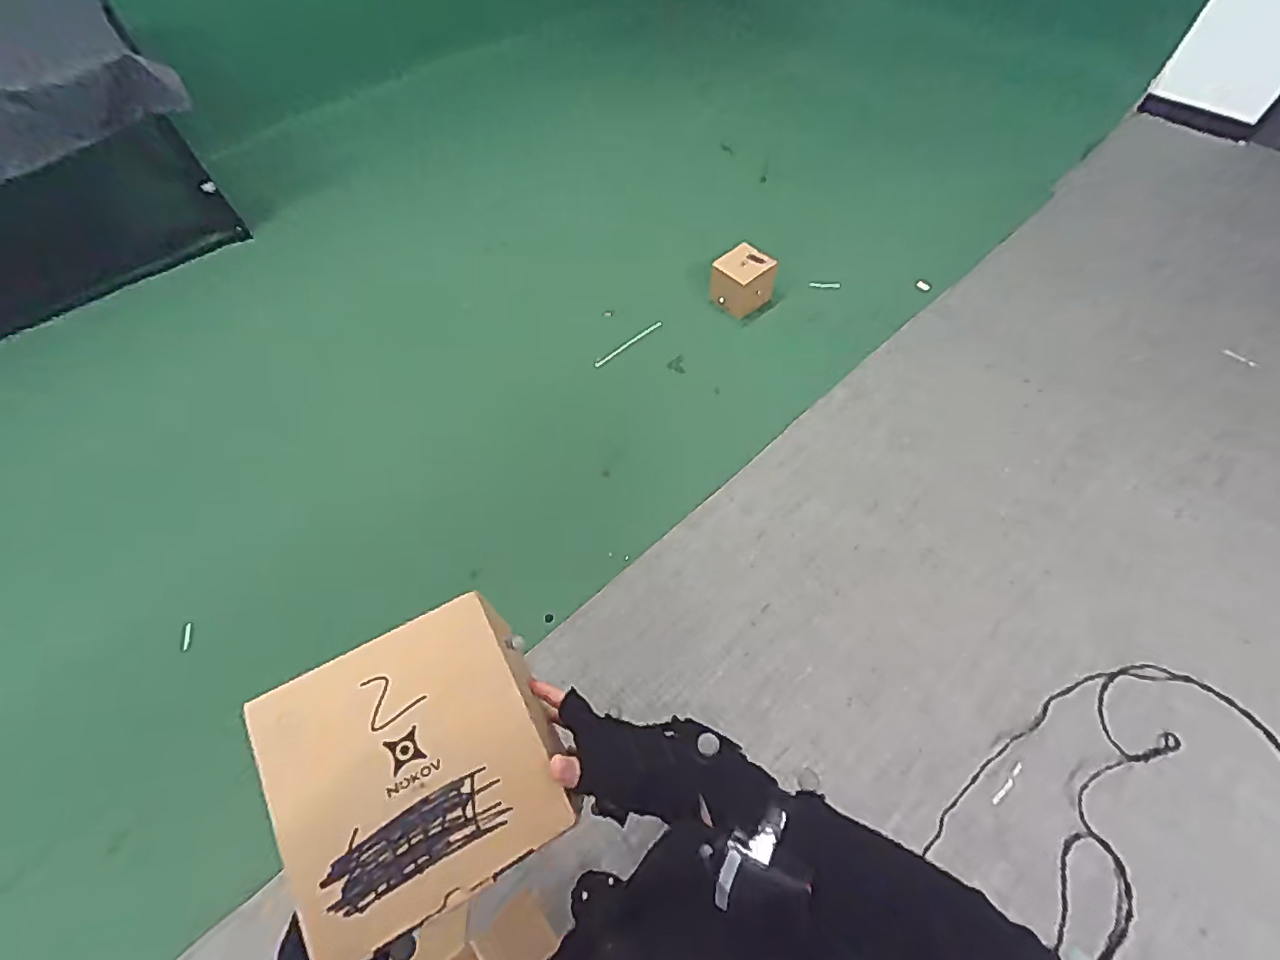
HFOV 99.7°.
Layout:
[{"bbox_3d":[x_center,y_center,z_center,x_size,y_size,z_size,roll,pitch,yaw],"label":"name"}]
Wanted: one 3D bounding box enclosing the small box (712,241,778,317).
[{"bbox_3d":[0.383,-0.744,2.010,0.179,0.176,0.168,-38,64,-17],"label":"small box"}]
